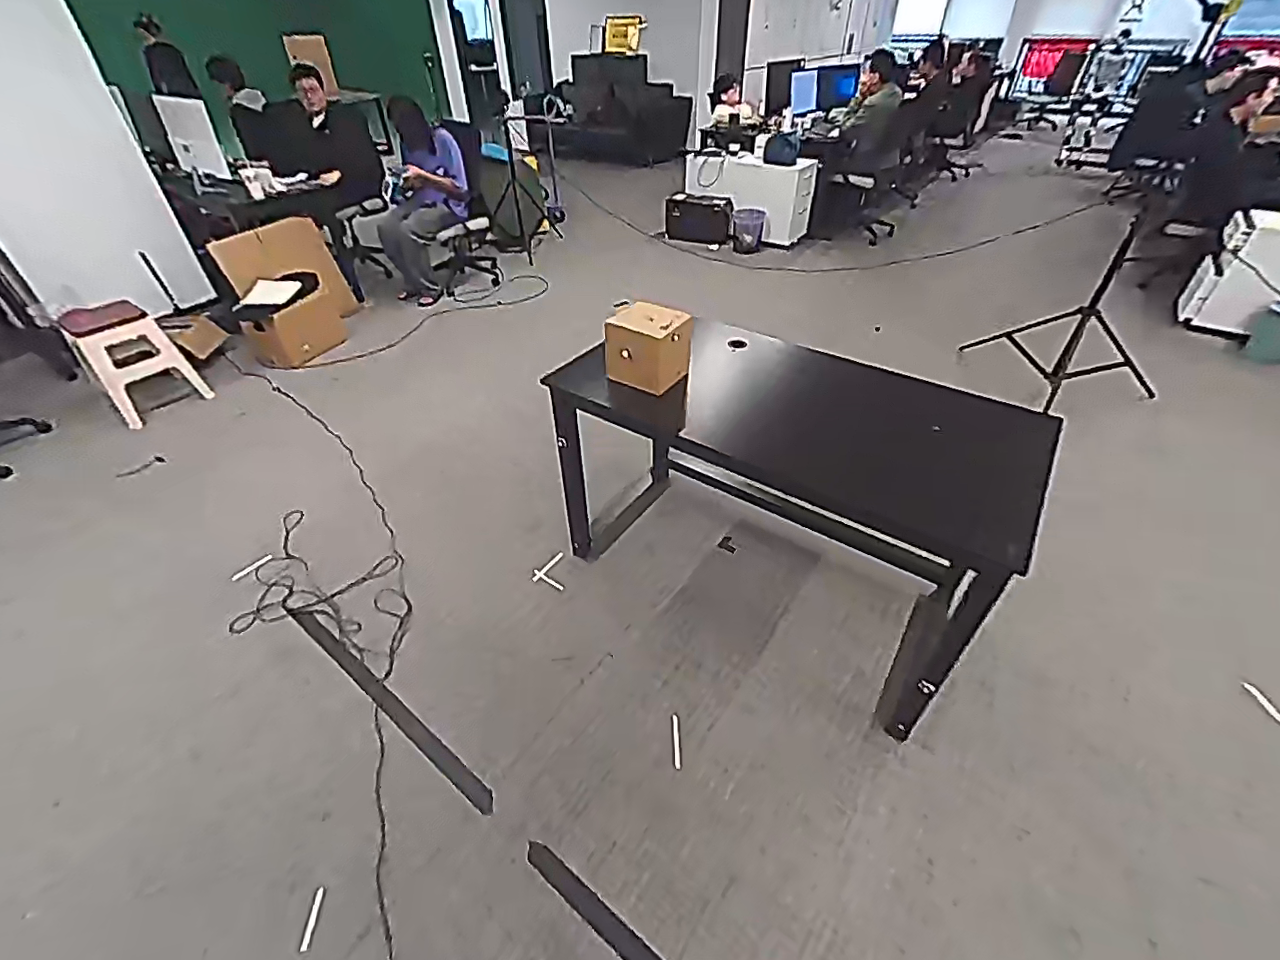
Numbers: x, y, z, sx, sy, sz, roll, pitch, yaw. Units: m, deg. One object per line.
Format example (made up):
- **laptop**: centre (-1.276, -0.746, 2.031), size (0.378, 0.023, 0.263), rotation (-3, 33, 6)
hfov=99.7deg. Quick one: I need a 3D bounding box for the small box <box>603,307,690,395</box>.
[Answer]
- **small box**: centre (0.018, -0.352, 1.476), size (0.179, 0.176, 0.168), rotation (23, 46, 26)
